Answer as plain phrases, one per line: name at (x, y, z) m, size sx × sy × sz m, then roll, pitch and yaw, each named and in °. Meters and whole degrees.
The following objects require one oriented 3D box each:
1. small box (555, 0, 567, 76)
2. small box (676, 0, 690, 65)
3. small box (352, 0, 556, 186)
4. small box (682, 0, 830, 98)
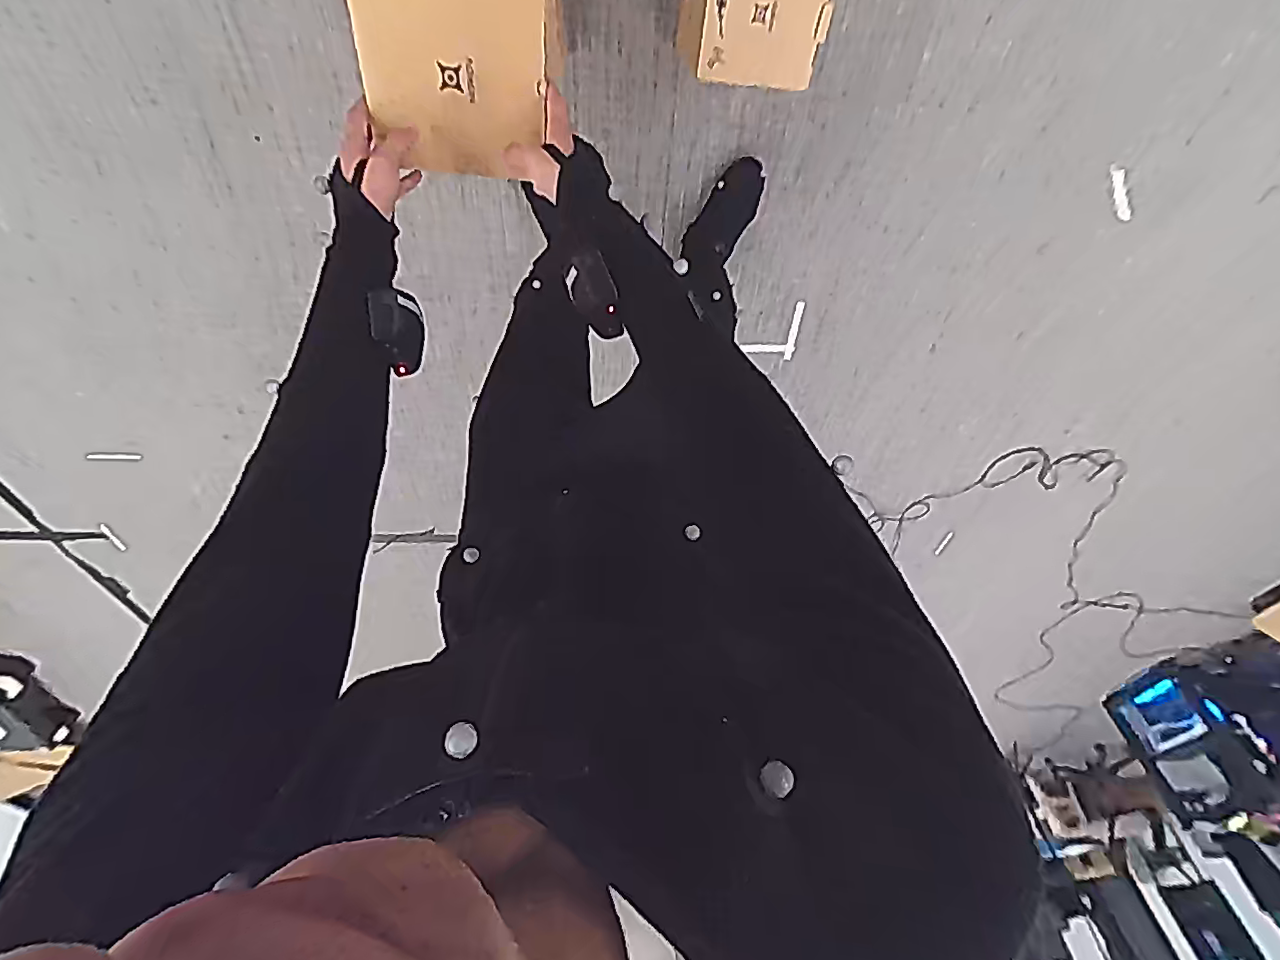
small box at (-0.218, -0.810, 0.928) m, size 0.168 × 0.176 × 0.179 m, roll -3°, pitch 135°, yaw 0°
small box at (0.163, -0.823, 0.943) m, size 0.179 × 0.176 × 0.168 m, roll 1°, pitch 135°, yaw -6°
small box at (-0.181, -0.433, 0.579) m, size 0.179 × 0.176 × 0.168 m, roll 1°, pitch 131°, yaw -9°
small box at (0.172, -0.708, 0.826) m, size 0.179 × 0.176 × 0.168 m, roll 2°, pitch 134°, yaw -7°
